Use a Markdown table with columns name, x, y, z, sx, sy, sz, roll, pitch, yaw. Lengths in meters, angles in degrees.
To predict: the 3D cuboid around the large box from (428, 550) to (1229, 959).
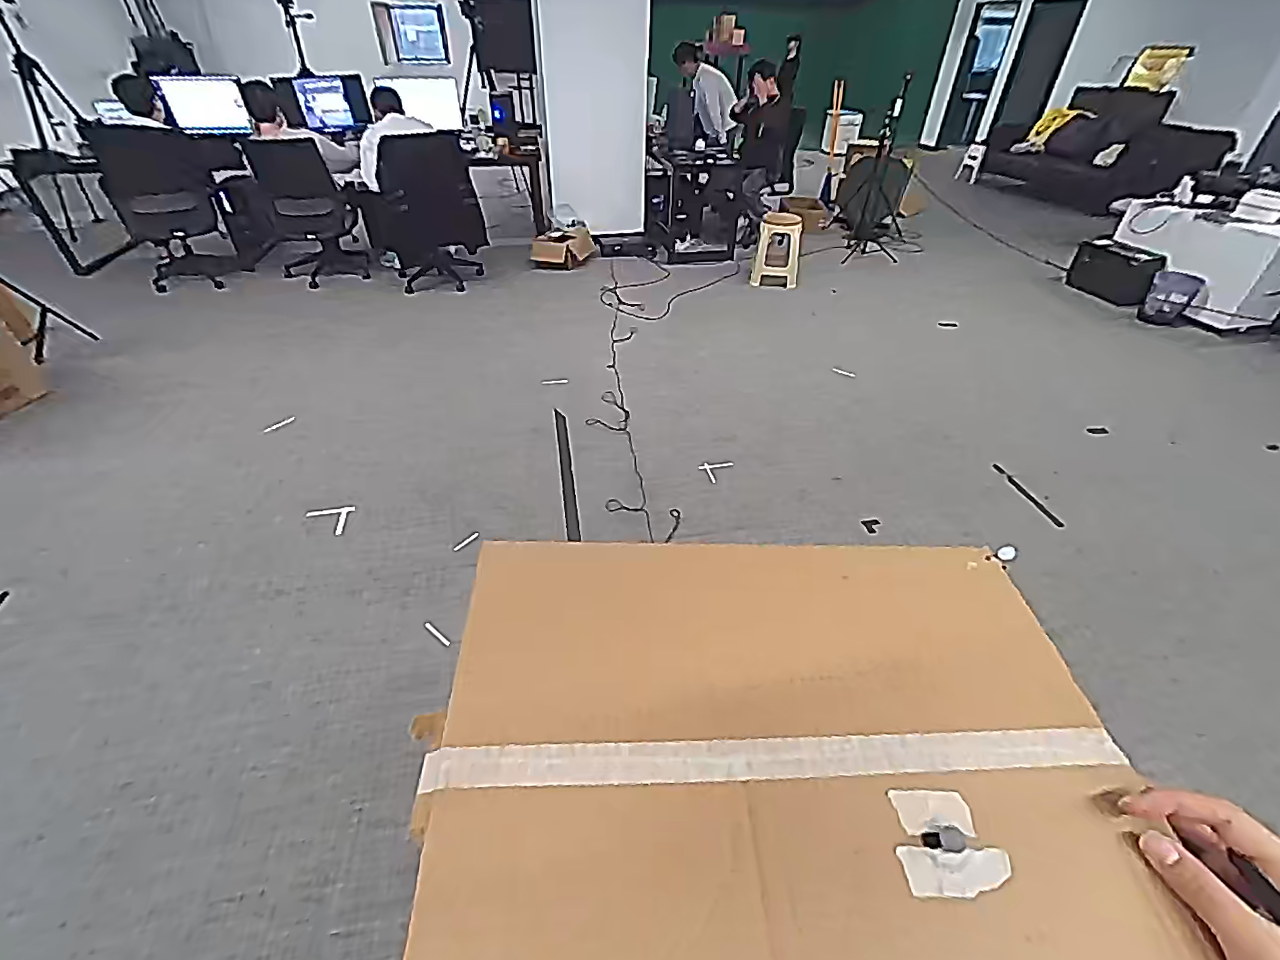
| name | x | y | z | sx | sy | sz | roll | pitch | yaw |
| --- | --- | --- | --- | --- | --- | --- | --- | --- | --- |
| large box | 0.078 | 0.271 | 0.427 | 0.408 | 0.320 | 0.320 | 2 | 46 | -6 |
